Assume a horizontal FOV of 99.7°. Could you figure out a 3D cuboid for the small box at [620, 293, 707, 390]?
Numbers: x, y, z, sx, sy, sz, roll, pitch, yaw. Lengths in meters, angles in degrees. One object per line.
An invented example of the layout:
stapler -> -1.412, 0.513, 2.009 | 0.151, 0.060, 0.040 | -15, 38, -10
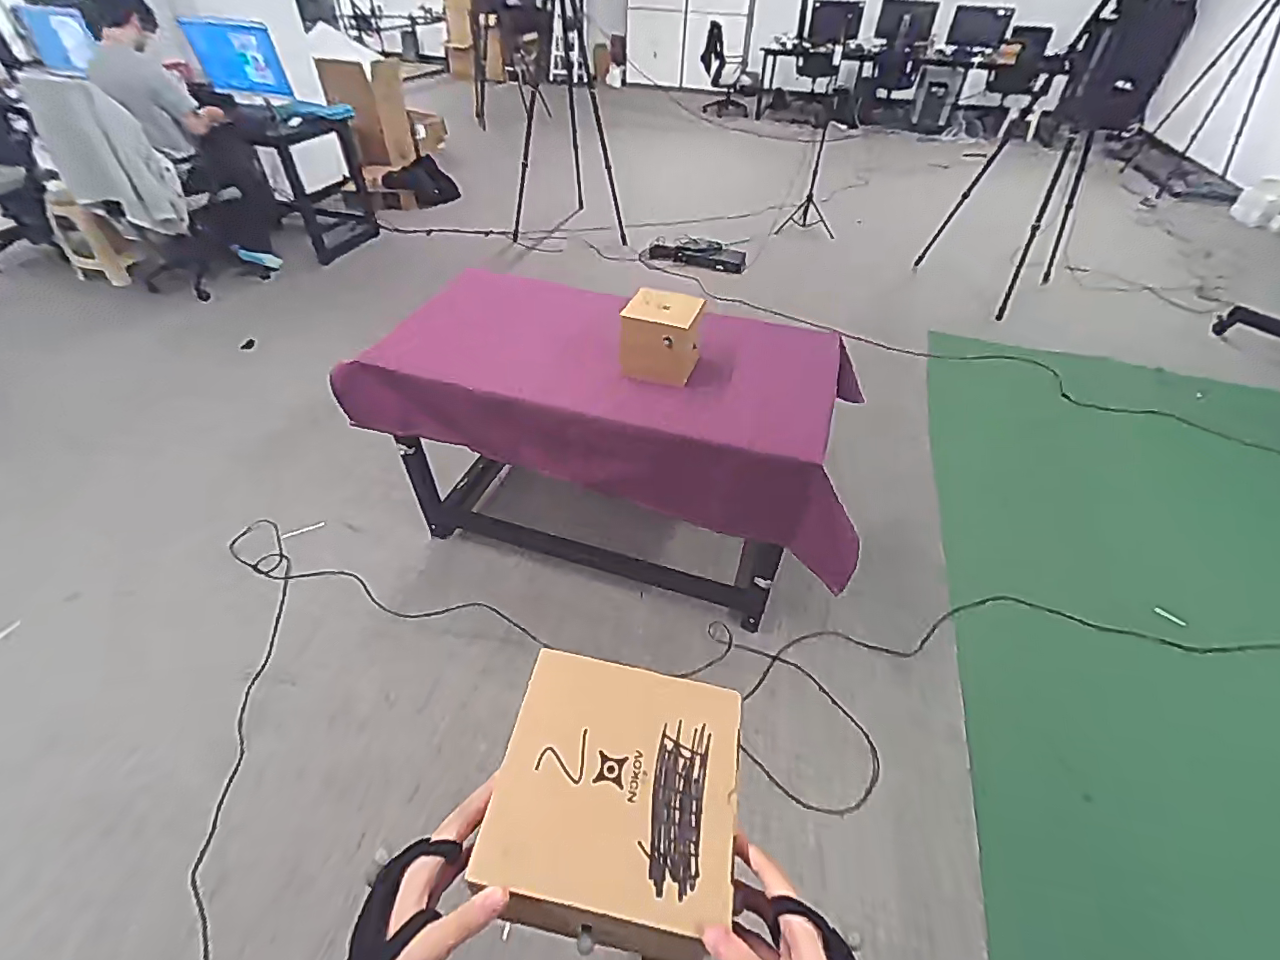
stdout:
small box -> 0.057, -0.350, 1.378 | 0.179, 0.176, 0.168 | 15, 45, 13
